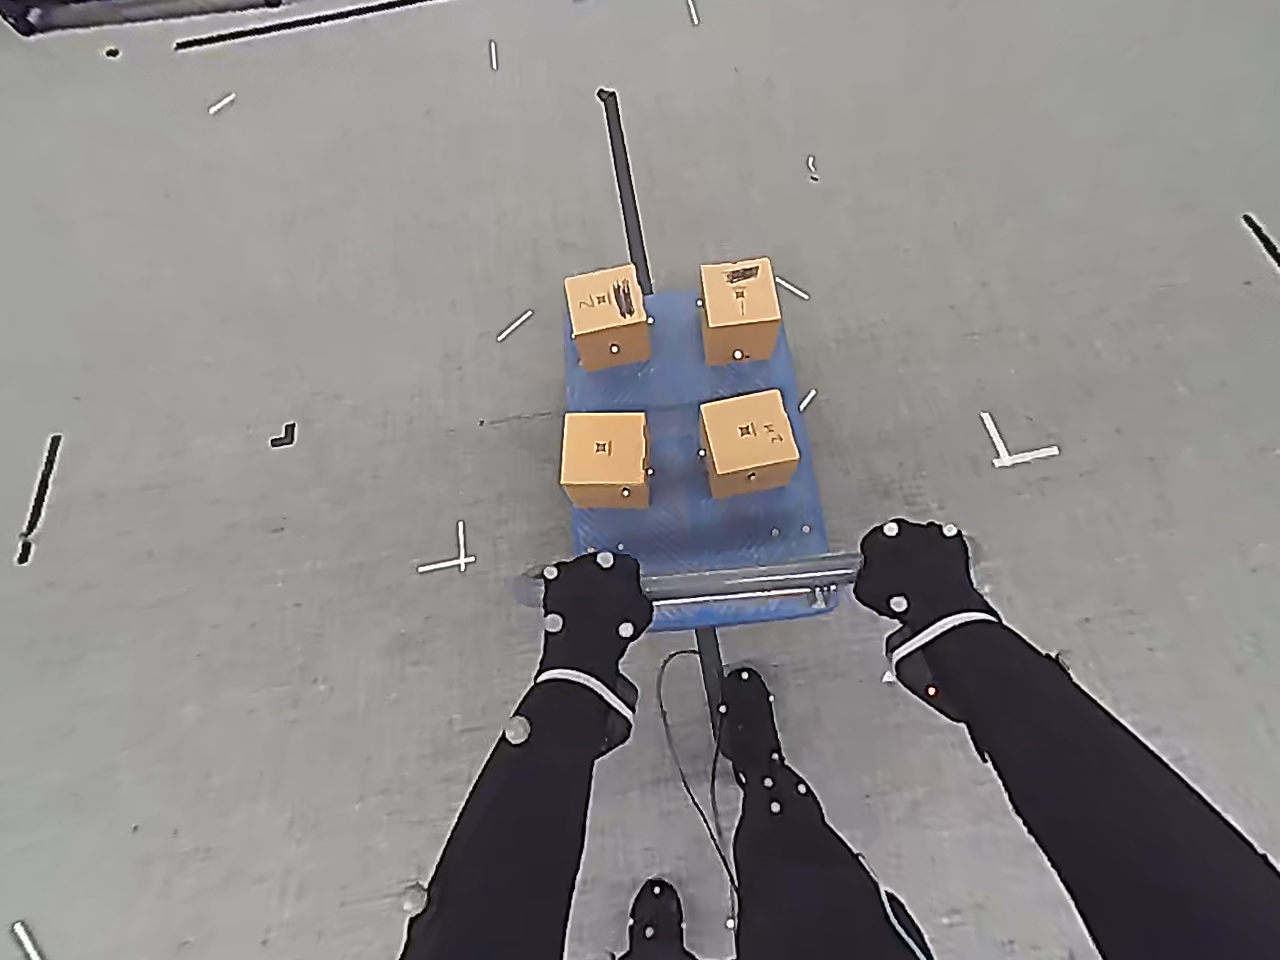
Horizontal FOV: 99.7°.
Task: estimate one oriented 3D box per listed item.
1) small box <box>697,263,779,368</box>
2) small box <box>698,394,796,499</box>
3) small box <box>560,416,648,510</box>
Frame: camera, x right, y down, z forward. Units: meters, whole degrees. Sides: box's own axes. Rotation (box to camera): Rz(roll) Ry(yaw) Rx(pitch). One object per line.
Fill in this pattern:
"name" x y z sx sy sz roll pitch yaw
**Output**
"small box" 0.233 -0.399 1.328 0.168 0.176 0.179 -6 71 2
"small box" 0.231 -0.067 1.210 0.179 0.176 0.168 -11 70 0
"small box" -0.073 -0.032 1.221 0.179 0.176 0.168 0 70 3
